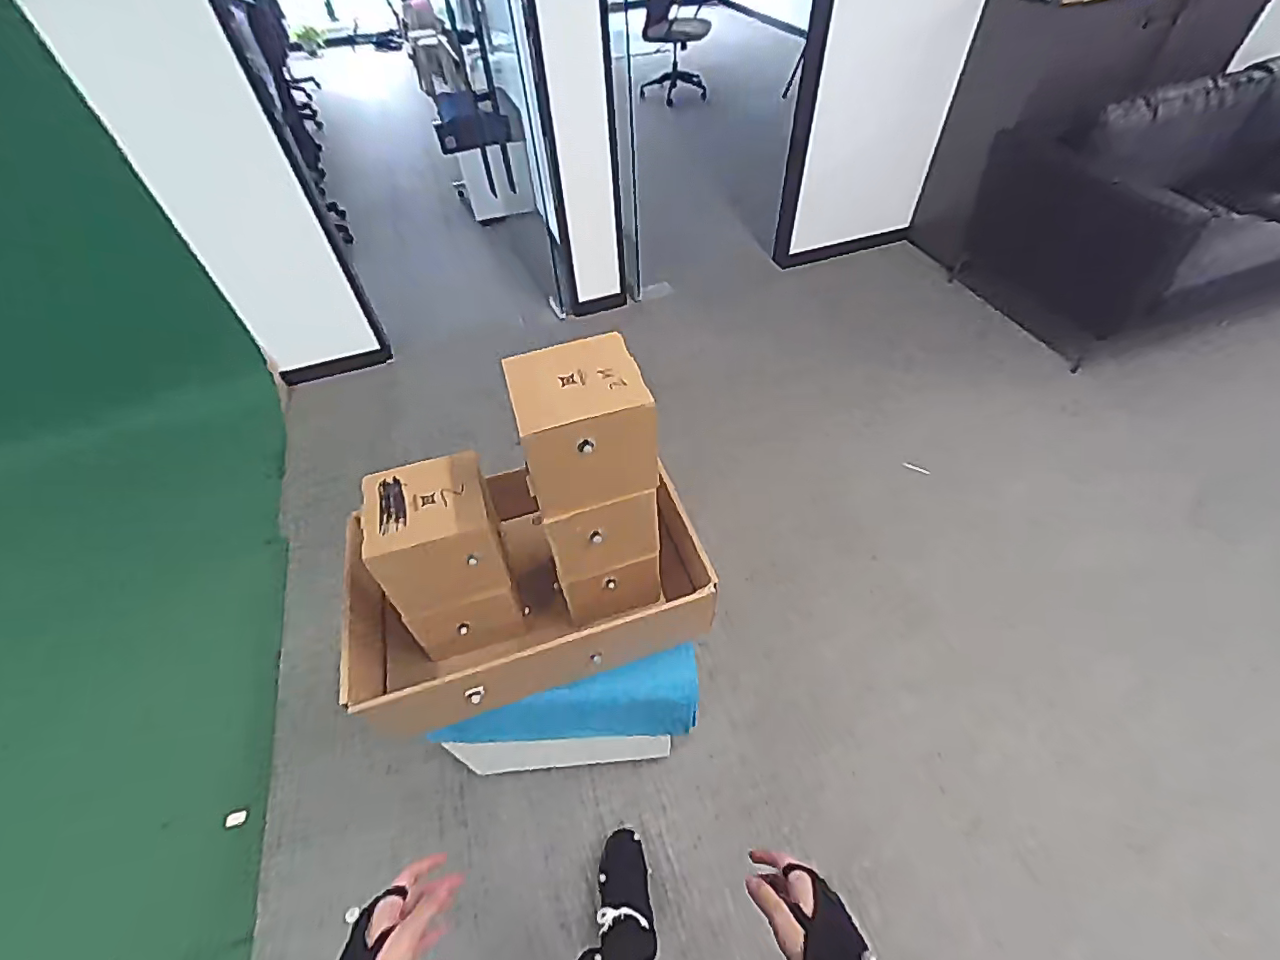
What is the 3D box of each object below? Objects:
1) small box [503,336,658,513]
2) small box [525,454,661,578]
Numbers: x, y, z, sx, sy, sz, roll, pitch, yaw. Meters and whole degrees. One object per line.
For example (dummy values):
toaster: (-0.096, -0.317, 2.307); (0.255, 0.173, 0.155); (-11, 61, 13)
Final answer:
small box: (-0.081, -0.075, 0.780); (0.179, 0.176, 0.168); (-16, 50, -8)
small box: (-0.074, 0.038, 0.900); (0.179, 0.176, 0.168); (-18, 51, -8)
